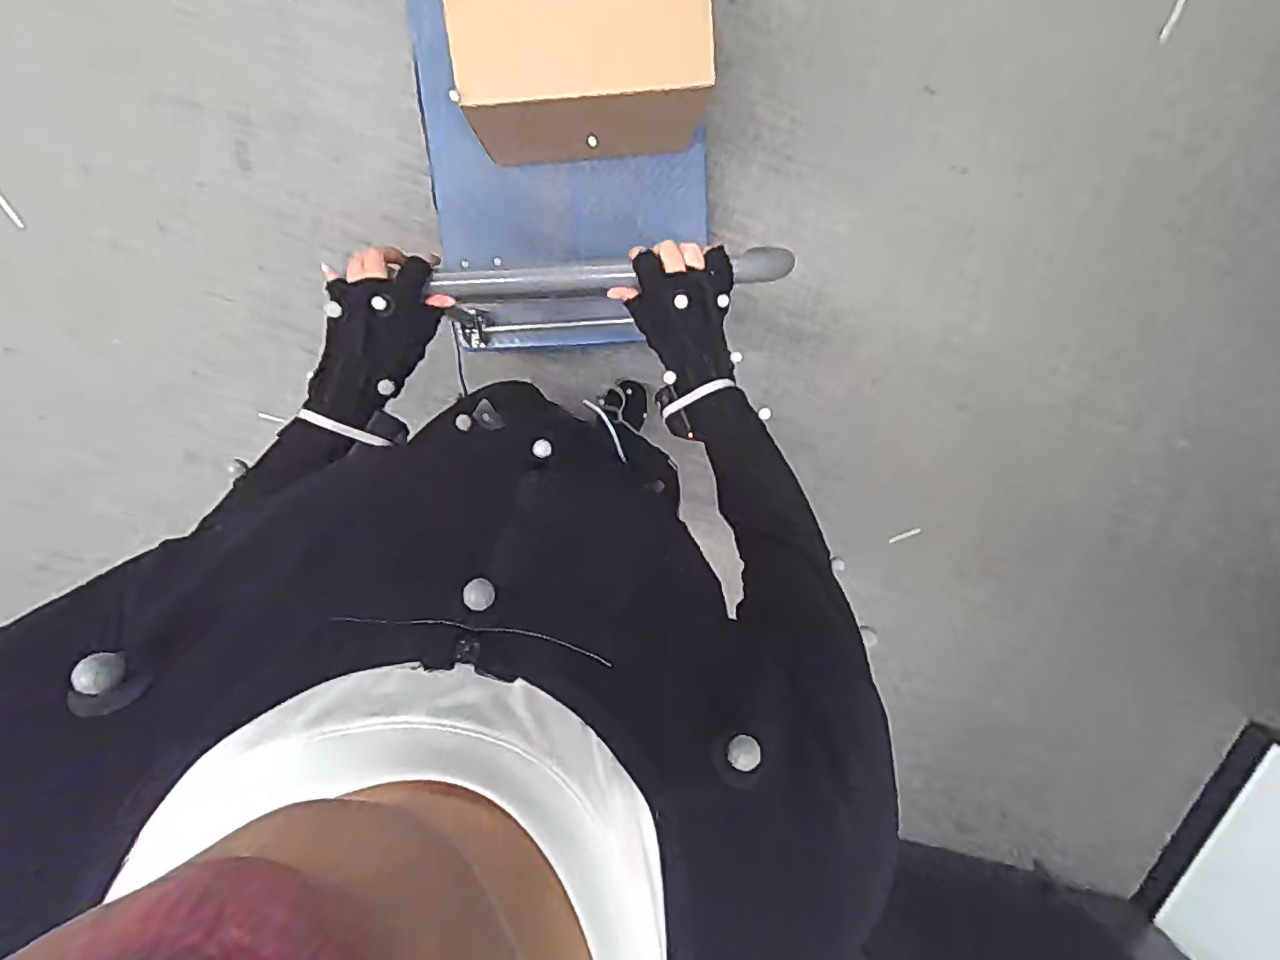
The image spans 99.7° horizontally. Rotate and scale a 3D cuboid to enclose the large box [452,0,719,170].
[{"bbox_3d":[-0.094,-0.781,0.961,0.408,0.320,0.320,-7,104,-1],"label":"large box"}]
